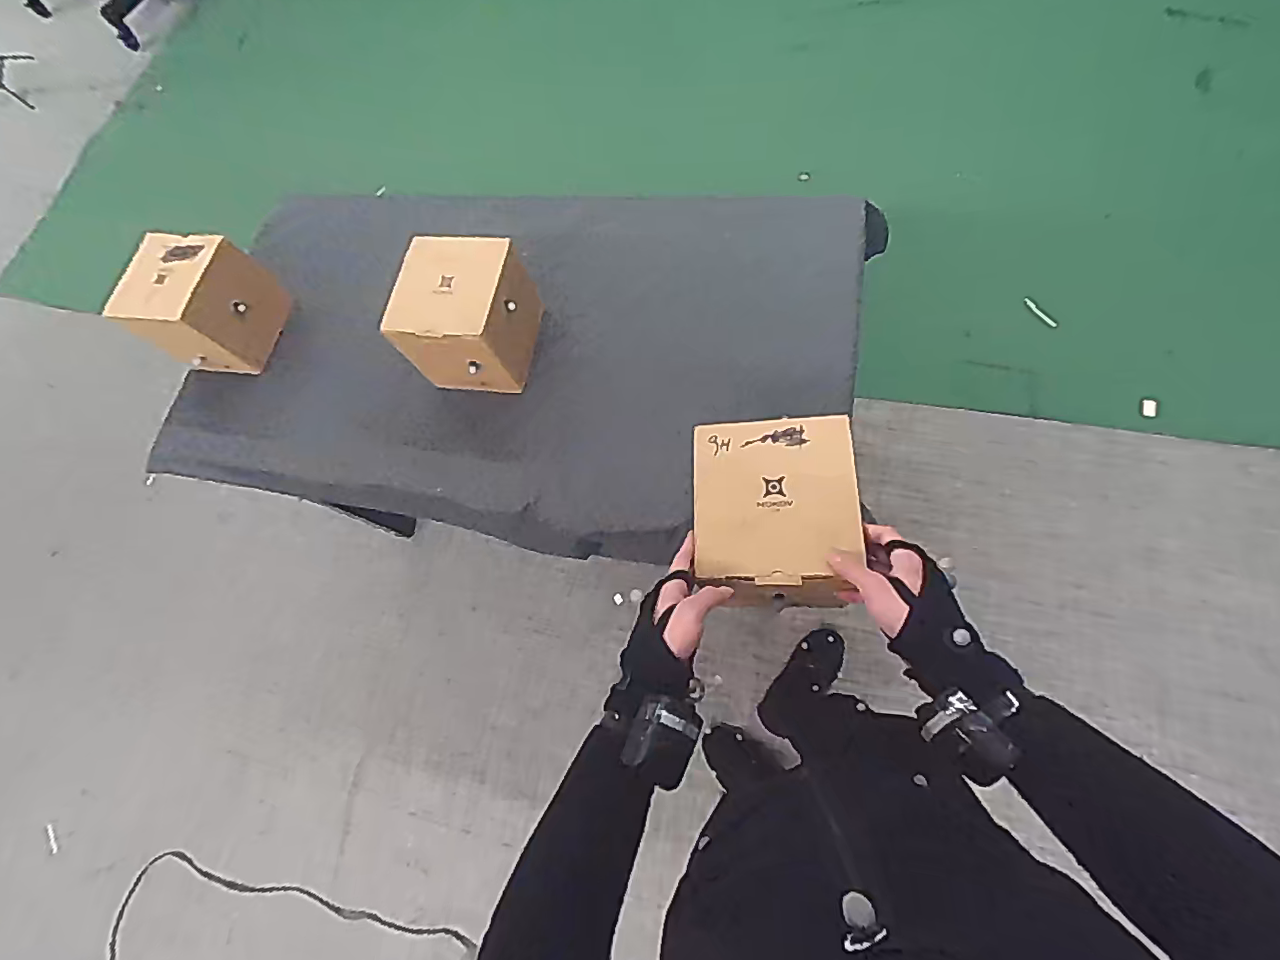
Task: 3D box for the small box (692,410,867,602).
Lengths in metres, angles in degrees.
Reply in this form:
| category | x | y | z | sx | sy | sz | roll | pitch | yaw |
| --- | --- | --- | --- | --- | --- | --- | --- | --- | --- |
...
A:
| category | x | y | z | sx | sy | sz | roll | pitch | yaw |
| --- | --- | --- | --- | --- | --- | --- | --- | --- | --- |
| small box | 0.154 | 0.041 | 0.615 | 0.168 | 0.176 | 0.179 | -2 | 68 | 13 |

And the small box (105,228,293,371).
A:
| category | x | y | z | sx | sy | sz | roll | pitch | yaw |
| --- | --- | --- | --- | --- | --- | --- | --- | --- | --- |
| small box | -0.773 | -0.321 | 0.972 | 0.168 | 0.176 | 0.179 | 7 | 71 | 12 |

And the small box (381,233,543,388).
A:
| category | x | y | z | sx | sy | sz | roll | pitch | yaw |
| --- | --- | --- | --- | --- | --- | --- | --- | --- | --- |
| small box | -0.270 | -0.265 | 0.865 | 0.168 | 0.176 | 0.179 | 7 | 70 | 11 |
